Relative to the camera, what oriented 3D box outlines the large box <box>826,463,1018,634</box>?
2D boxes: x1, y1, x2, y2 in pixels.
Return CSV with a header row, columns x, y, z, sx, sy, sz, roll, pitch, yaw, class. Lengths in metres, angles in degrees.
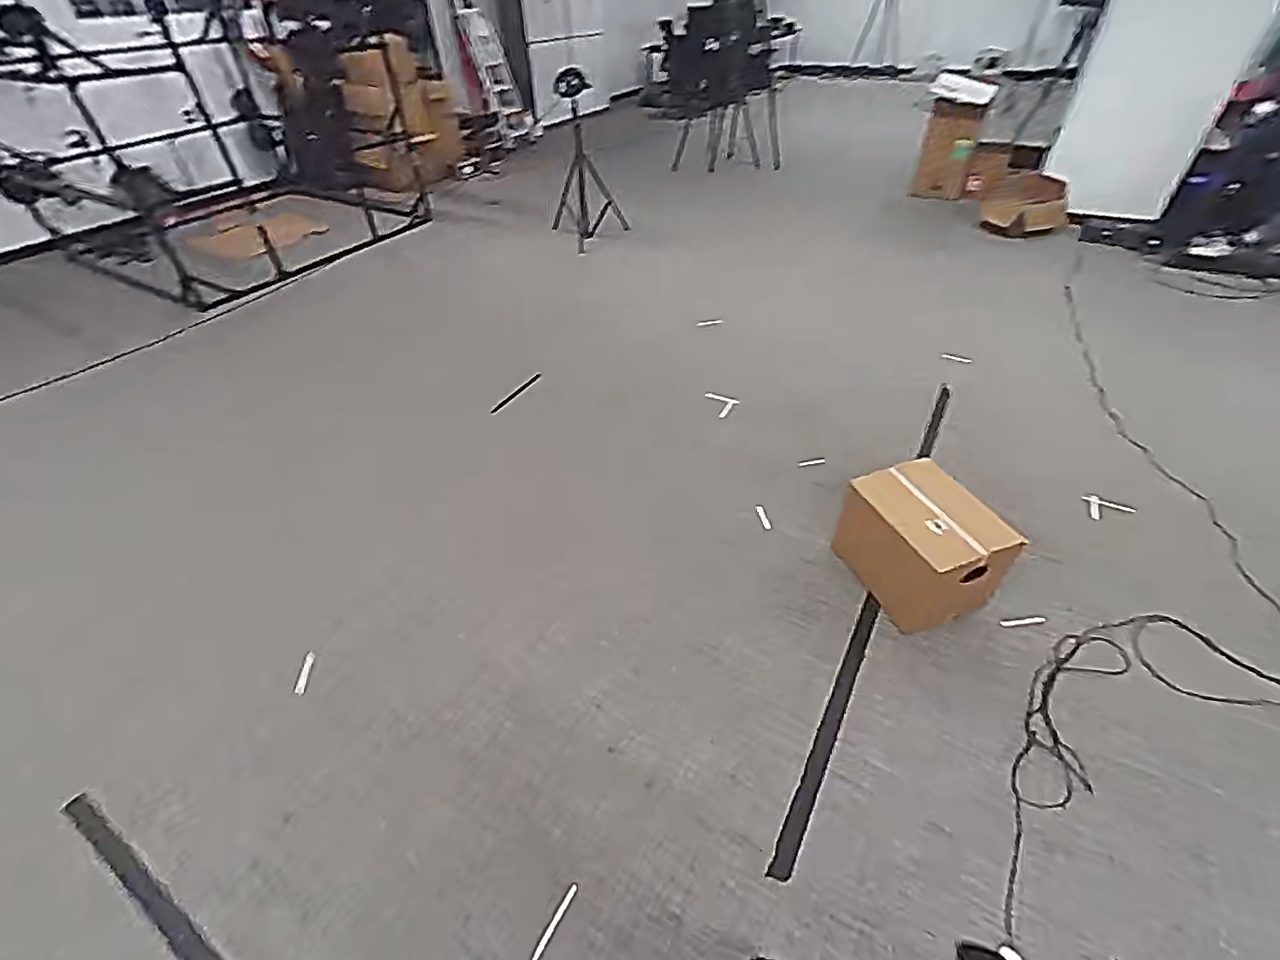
x,y,z,sx,sy,sz,roll,pitch,yaw,class
0.874,0.210,1.744,0.320,0.320,0.408,-16,44,-14,large box
